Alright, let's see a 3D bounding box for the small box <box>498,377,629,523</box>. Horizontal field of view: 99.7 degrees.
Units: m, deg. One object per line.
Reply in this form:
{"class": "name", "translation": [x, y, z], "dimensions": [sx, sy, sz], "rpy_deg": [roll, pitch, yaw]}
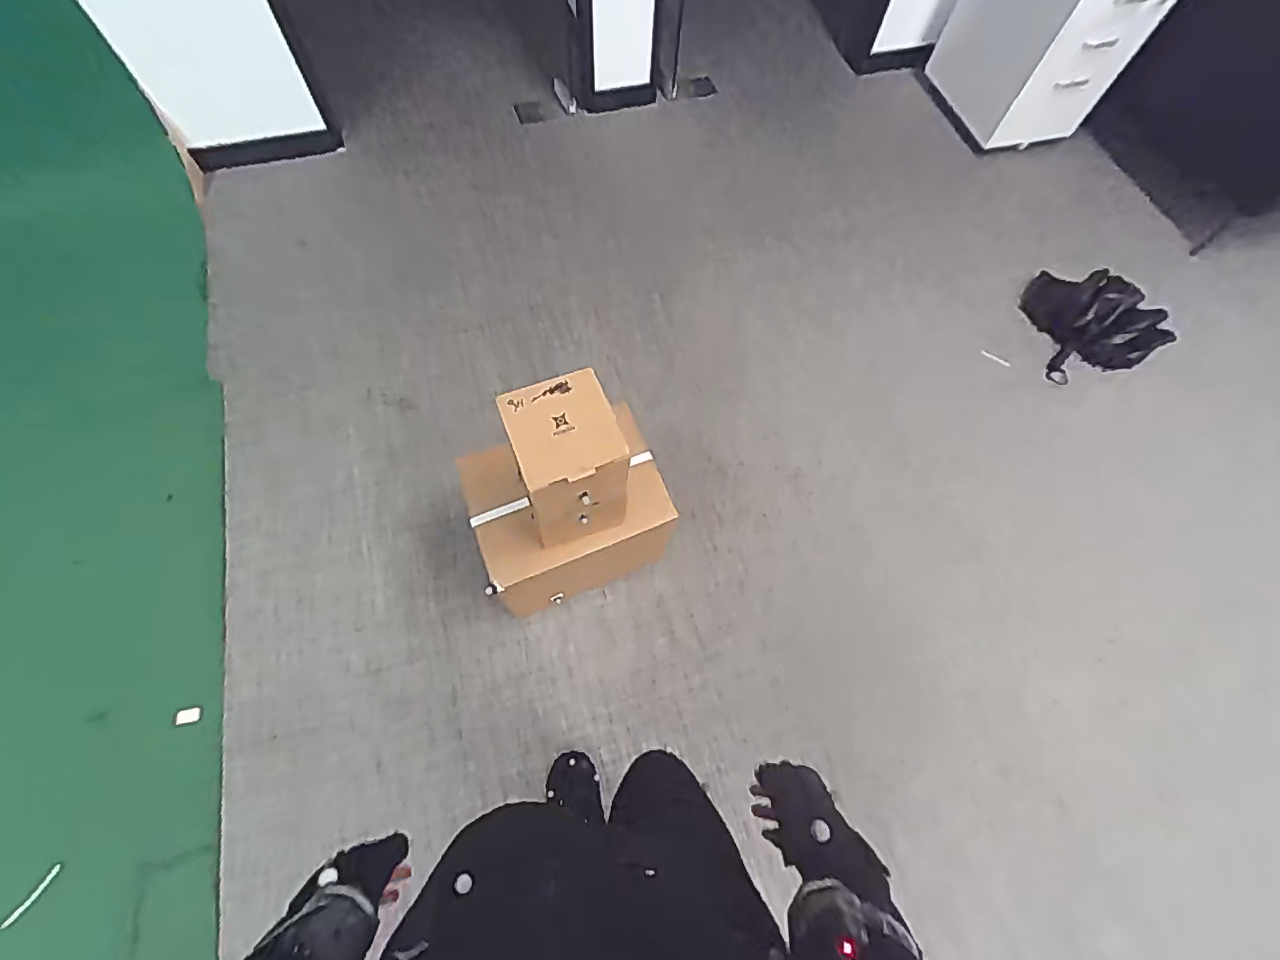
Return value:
{"class": "small box", "translation": [-0.125, -0.041, 0.923], "dimensions": [0.168, 0.176, 0.179], "rpy_deg": [-20, 70, -11]}

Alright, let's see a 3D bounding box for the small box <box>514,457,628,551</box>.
{"class": "small box", "translation": [-0.133, 0.023, 1.074], "dimensions": [0.179, 0.176, 0.168], "rpy_deg": [-19, 69, -12]}
